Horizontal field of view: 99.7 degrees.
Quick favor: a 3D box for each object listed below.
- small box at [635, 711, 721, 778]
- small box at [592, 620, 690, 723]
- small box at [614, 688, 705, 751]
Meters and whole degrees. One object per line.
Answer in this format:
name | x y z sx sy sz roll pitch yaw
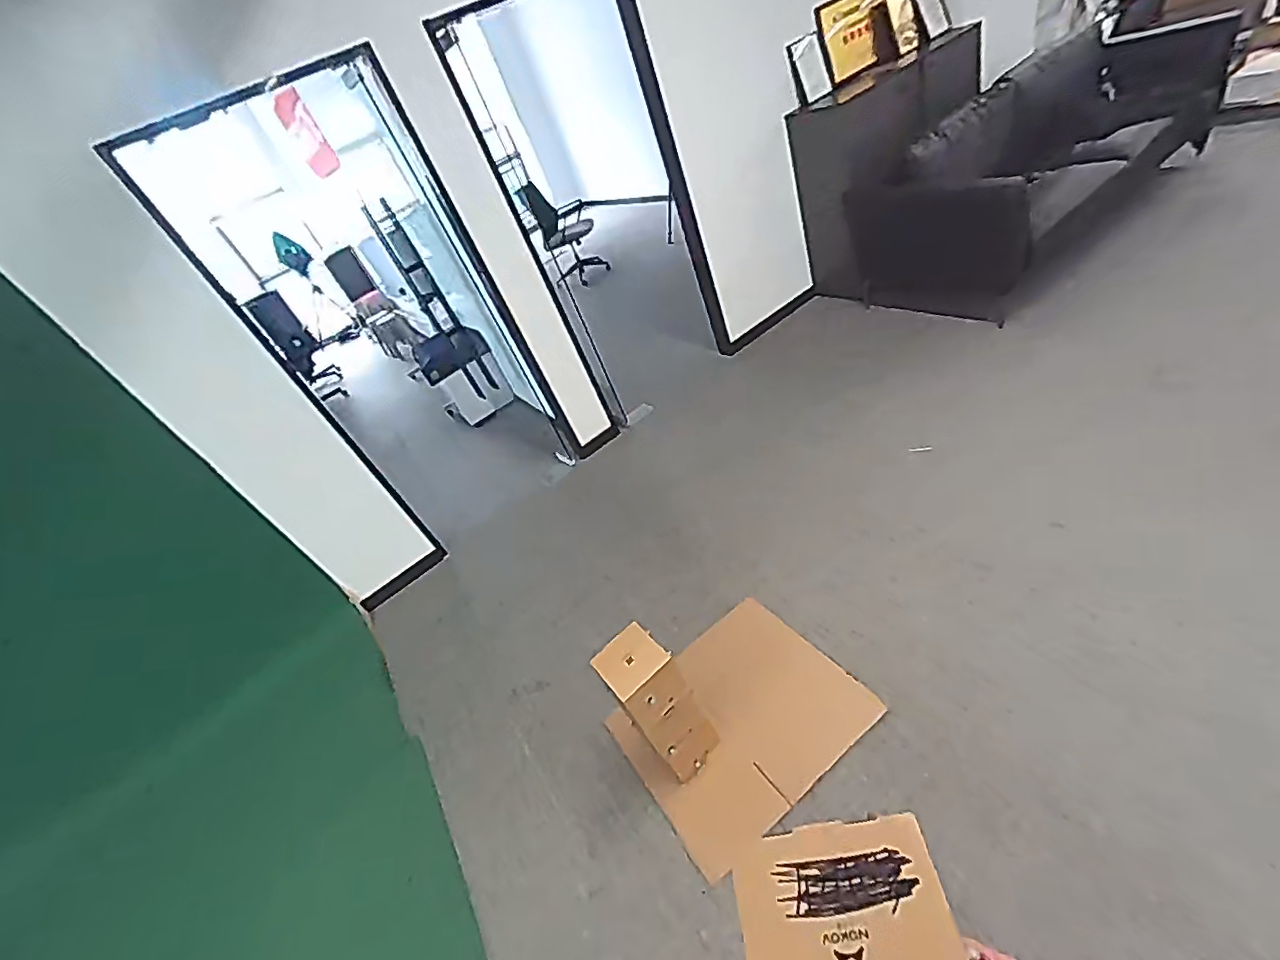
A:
small box | 0.117 0.764 1.647 0.168 0.176 0.179 -41 39 -20
small box | 0.007 0.523 1.460 0.168 0.176 0.179 -38 37 -17
small box | 0.060 0.645 1.552 0.168 0.176 0.179 -39 37 -17
